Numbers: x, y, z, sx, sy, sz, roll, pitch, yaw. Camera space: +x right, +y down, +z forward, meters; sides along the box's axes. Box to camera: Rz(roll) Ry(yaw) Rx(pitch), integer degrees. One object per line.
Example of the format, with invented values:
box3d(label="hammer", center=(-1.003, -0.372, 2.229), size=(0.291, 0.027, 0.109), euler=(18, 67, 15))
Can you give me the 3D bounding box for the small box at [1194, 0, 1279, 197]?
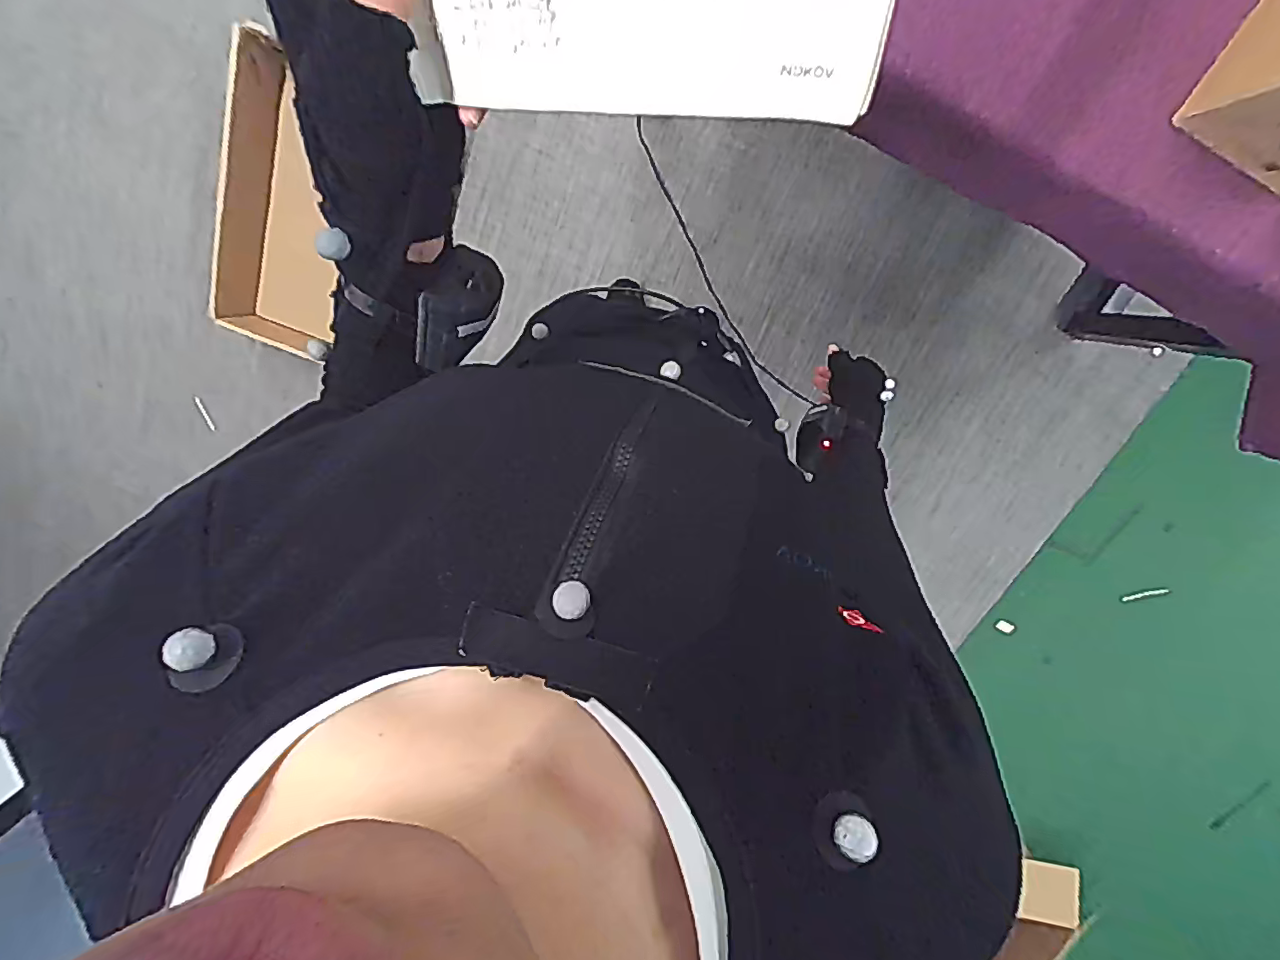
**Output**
box3d(label="small box", center=(0.659, -0.373, 0.470), size=(0.168, 0.176, 0.179), euler=(28, 110, -6))
